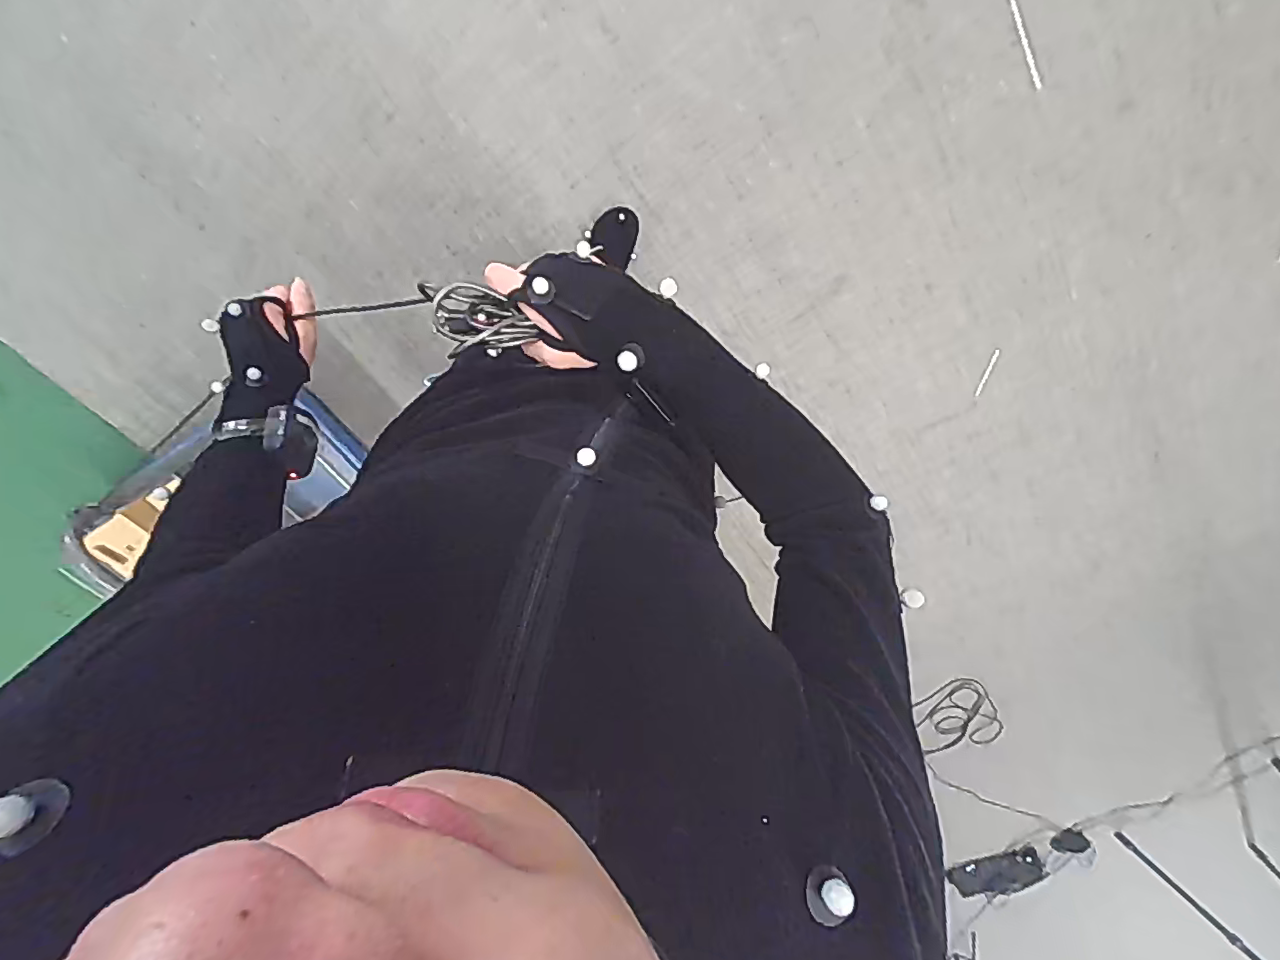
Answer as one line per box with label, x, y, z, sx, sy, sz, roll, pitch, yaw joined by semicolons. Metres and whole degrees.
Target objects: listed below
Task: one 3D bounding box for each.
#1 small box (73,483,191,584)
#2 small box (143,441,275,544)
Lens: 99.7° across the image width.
small box;-1.336;0.142;1.461;0.179;0.176;0.168;-30;117;12
small box;-1.112;0.029;1.413;0.179;0.176;0.168;-27;117;11
